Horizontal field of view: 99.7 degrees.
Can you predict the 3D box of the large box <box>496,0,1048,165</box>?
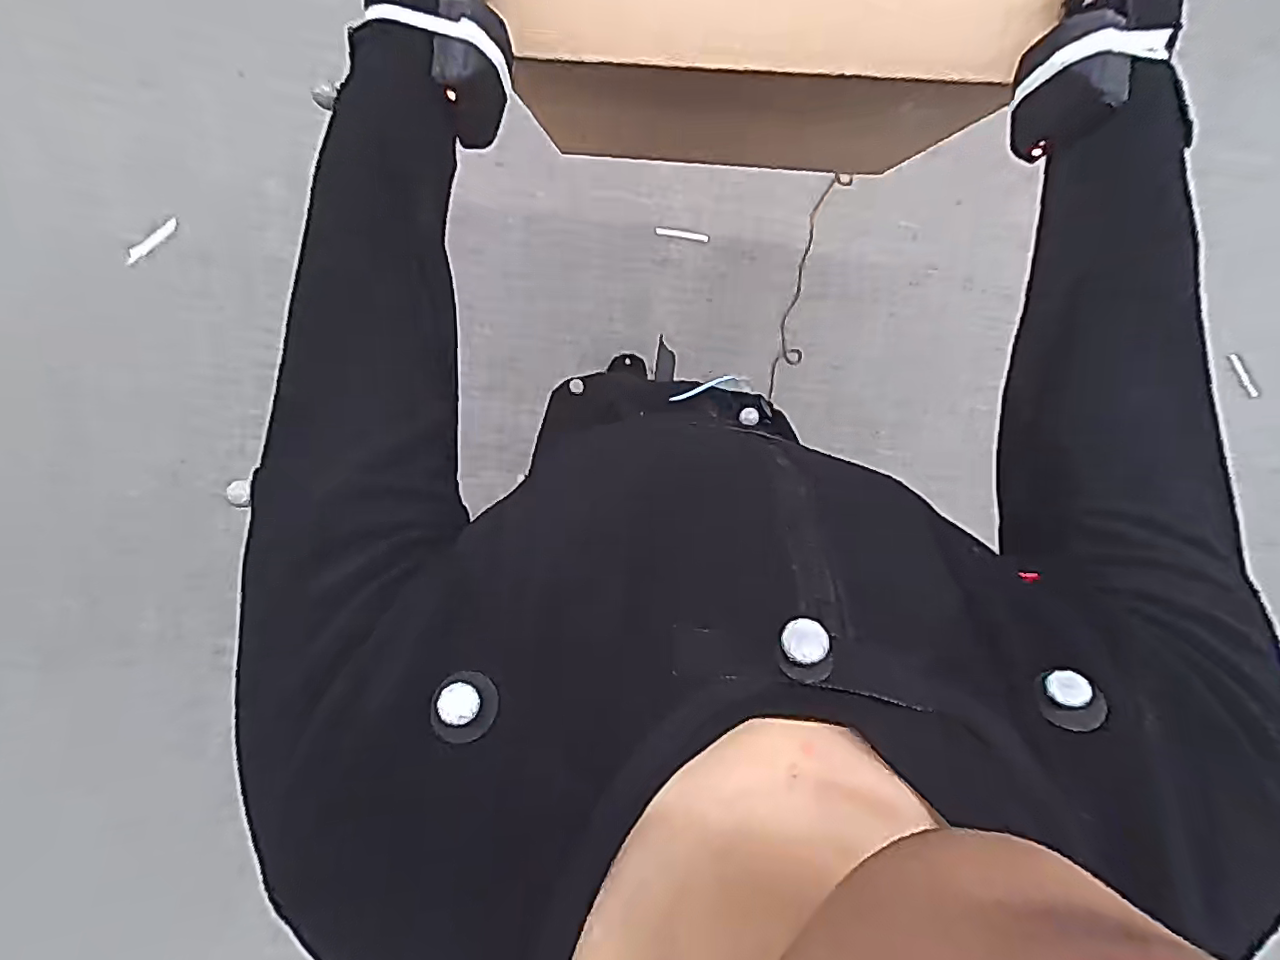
[{"bbox_3d":[0.101,-0.499,0.492,0.408,0.320,0.320,4,110,1],"label":"large box"}]
